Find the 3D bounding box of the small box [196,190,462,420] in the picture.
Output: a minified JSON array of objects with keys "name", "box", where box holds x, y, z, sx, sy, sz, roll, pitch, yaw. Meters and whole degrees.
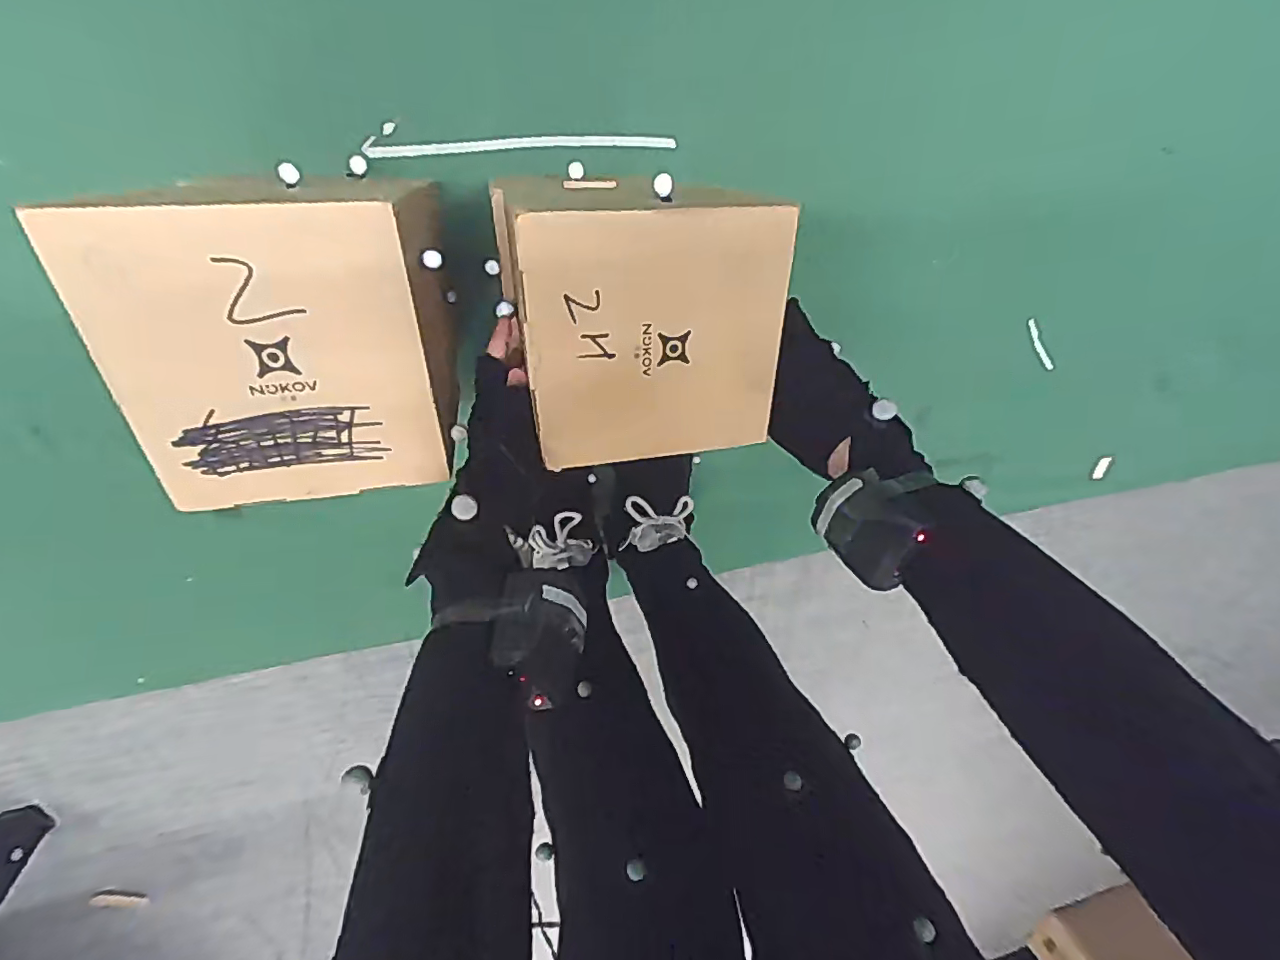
[{"name":"small box","box":[-0.271,-0.175,0.525,0.168,0.176,0.179,-6,122,-13]}]
